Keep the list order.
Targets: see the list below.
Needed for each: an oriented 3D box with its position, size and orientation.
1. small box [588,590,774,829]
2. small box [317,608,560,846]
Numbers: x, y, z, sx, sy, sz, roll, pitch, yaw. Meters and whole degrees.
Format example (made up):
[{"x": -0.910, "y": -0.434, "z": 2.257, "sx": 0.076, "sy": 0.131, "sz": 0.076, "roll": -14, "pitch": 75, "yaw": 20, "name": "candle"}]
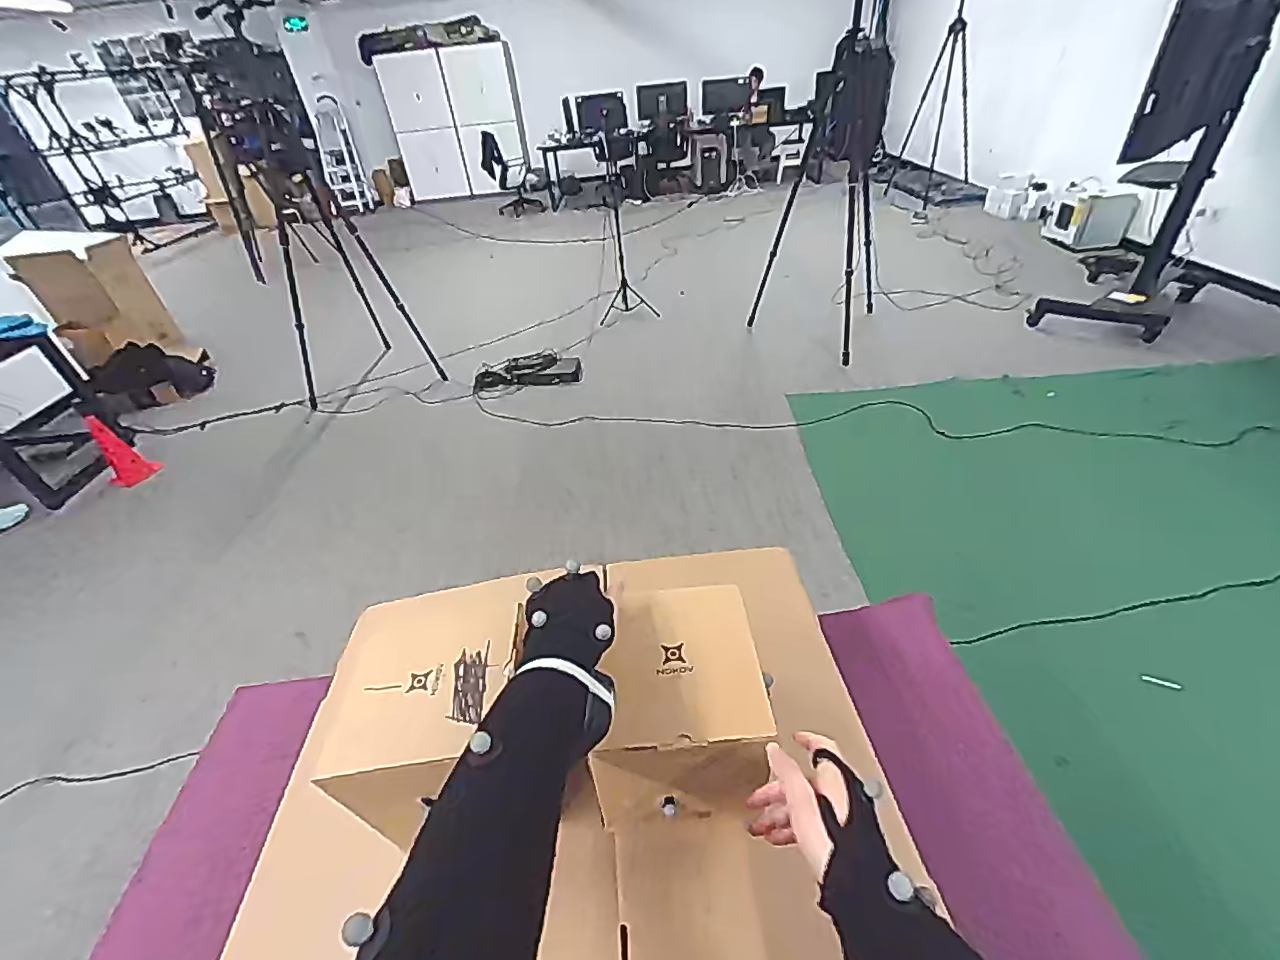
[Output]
[{"x": 0.036, "y": 0.244, "z": 0.584, "sx": 0.168, "sy": 0.176, "sz": 0.179, "roll": -5, "pitch": 39, "yaw": 0, "name": "small box"}, {"x": -0.193, "y": 0.268, "z": 0.586, "sx": 0.179, "sy": 0.176, "sz": 0.168, "roll": -12, "pitch": 38, "yaw": 5, "name": "small box"}]
